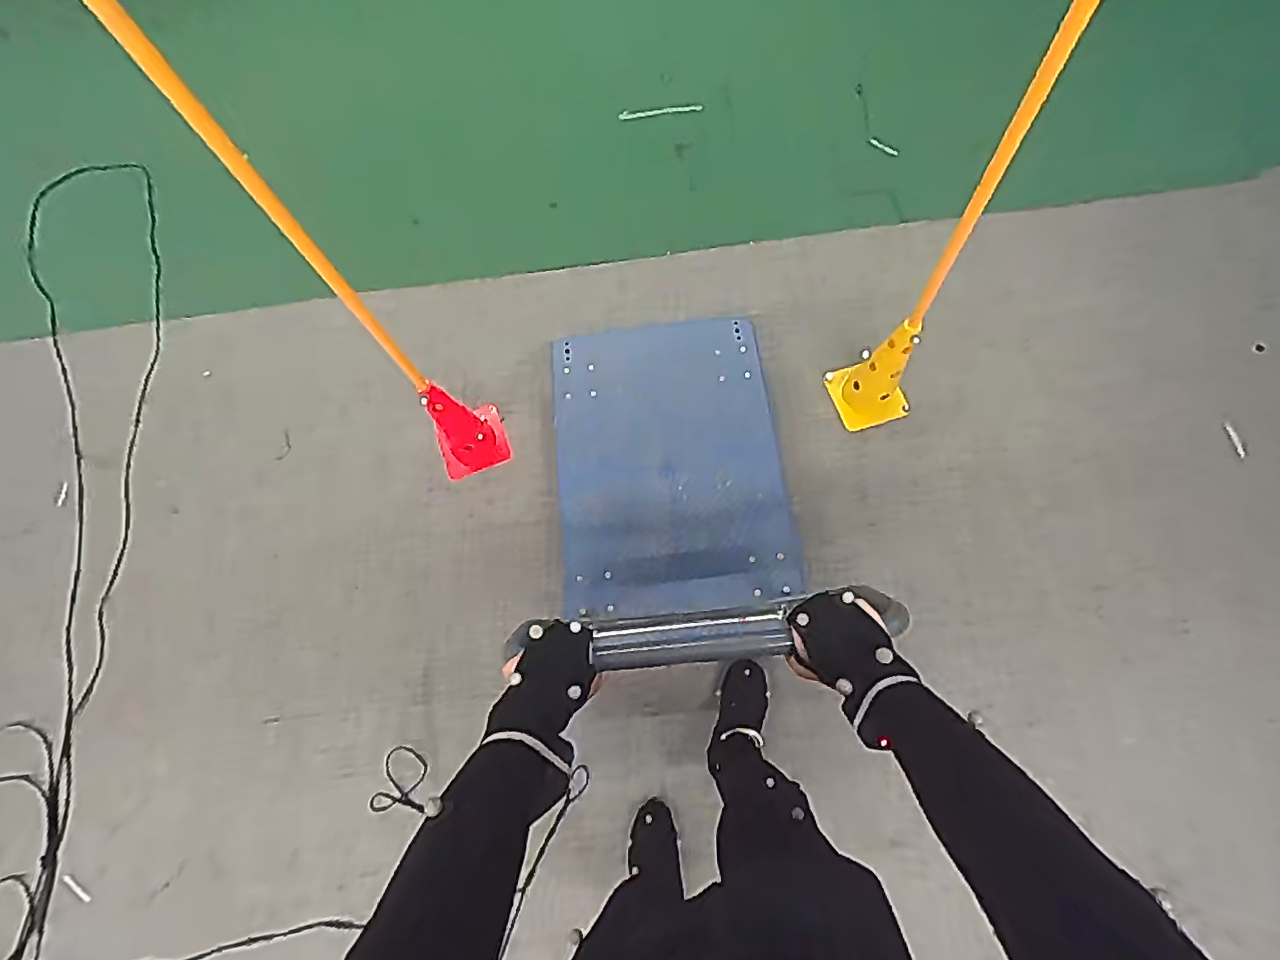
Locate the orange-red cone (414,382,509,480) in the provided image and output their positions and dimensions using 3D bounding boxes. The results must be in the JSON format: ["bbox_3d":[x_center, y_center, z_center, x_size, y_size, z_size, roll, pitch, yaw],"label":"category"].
[{"bbox_3d":[-0.519,-0.164,1.473,0.199,0.360,0.198,-21,71,-2],"label":"orange-red cone"}]
